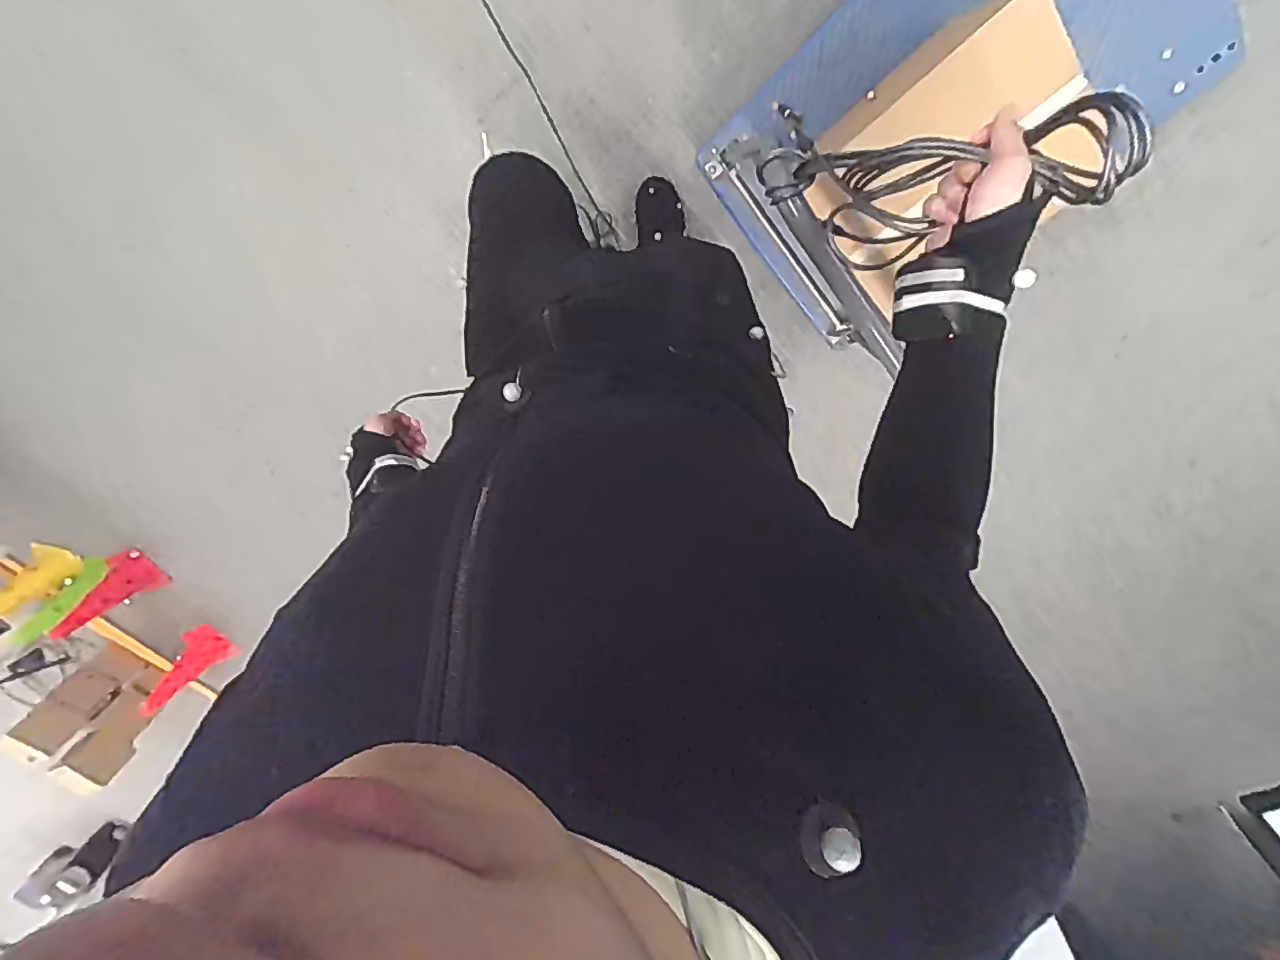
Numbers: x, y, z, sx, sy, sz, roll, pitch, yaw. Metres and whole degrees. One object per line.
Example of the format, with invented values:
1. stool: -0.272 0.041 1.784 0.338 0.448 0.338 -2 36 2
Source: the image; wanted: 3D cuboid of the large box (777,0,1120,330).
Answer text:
1. large box: 0.523 -0.558 1.003 0.408 0.320 0.320 -35 113 22
